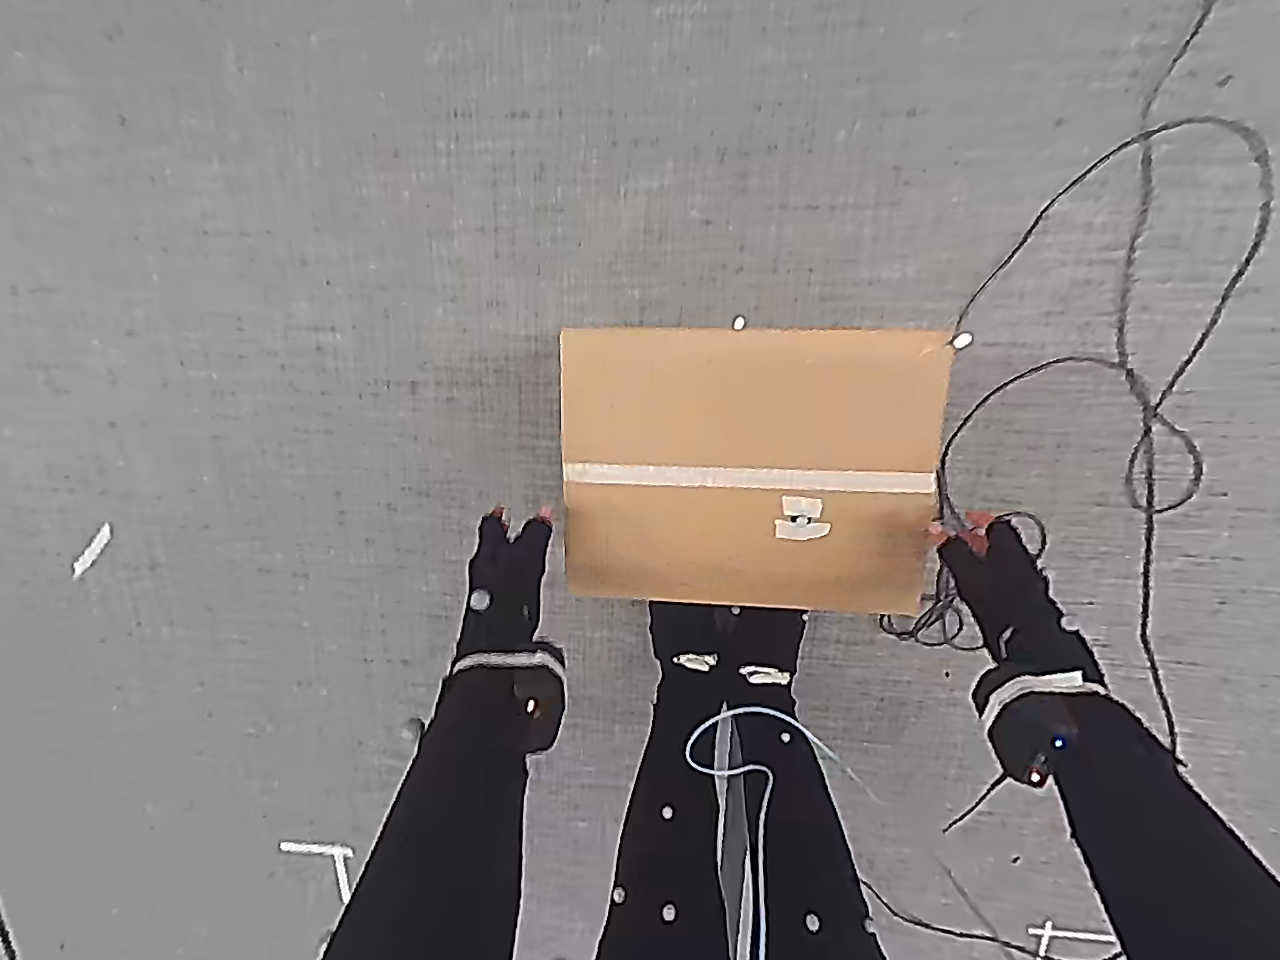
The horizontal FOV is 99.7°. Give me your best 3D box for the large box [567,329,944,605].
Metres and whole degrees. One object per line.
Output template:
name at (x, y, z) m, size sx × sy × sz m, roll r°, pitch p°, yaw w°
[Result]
large box at (0.132, -0.040, 0.752) m, size 0.408 × 0.320 × 0.320 m, roll 2°, pitch 104°, yaw 6°
